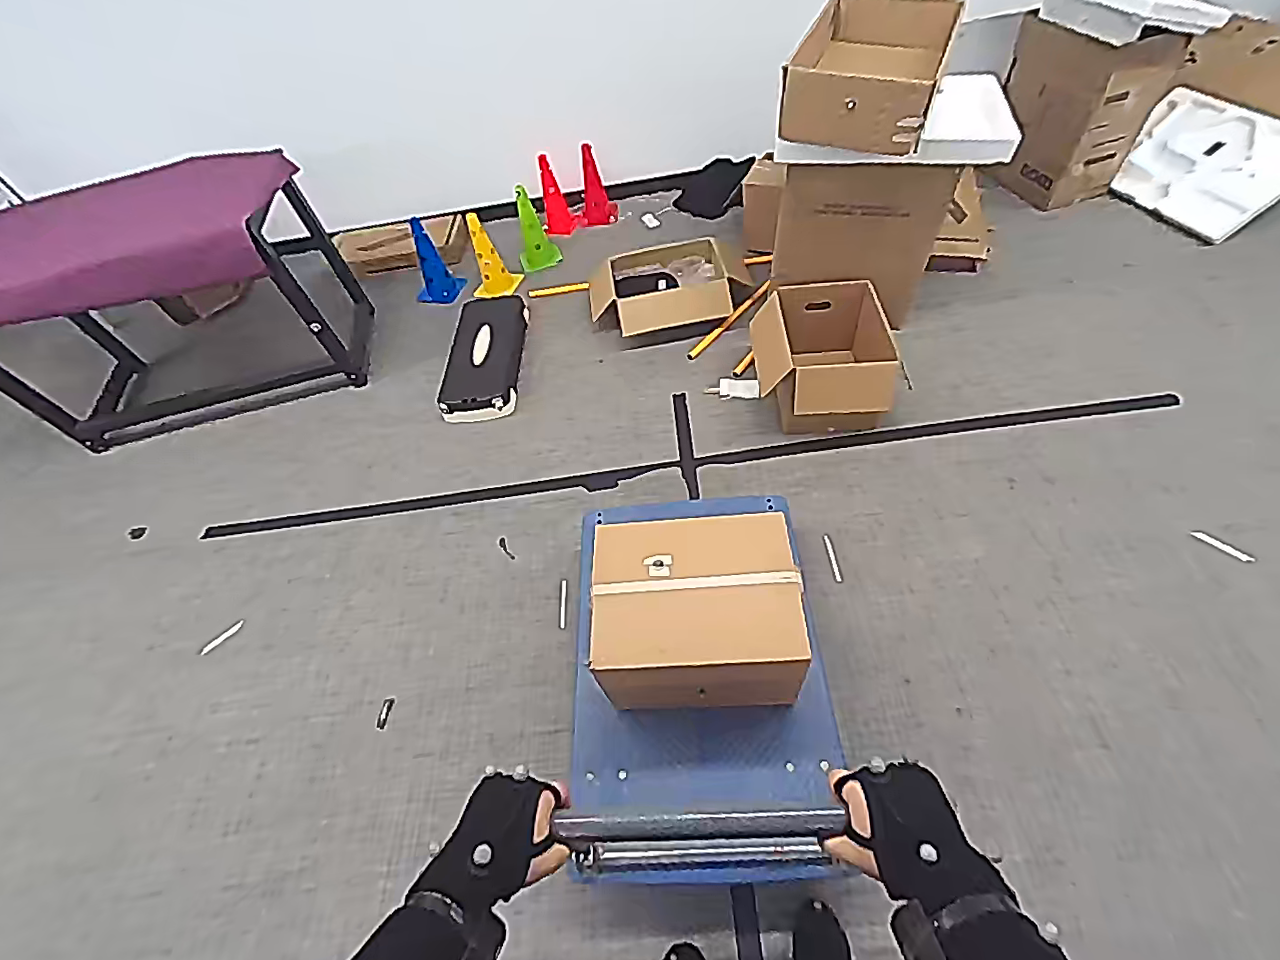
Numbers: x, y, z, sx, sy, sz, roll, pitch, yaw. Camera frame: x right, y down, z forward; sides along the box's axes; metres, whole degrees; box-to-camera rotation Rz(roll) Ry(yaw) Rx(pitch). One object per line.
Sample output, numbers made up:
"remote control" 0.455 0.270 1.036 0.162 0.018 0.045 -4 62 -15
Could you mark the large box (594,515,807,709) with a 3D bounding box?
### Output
"large box" 0.127 0.306 1.206 0.408 0.320 0.320 -6 53 6
